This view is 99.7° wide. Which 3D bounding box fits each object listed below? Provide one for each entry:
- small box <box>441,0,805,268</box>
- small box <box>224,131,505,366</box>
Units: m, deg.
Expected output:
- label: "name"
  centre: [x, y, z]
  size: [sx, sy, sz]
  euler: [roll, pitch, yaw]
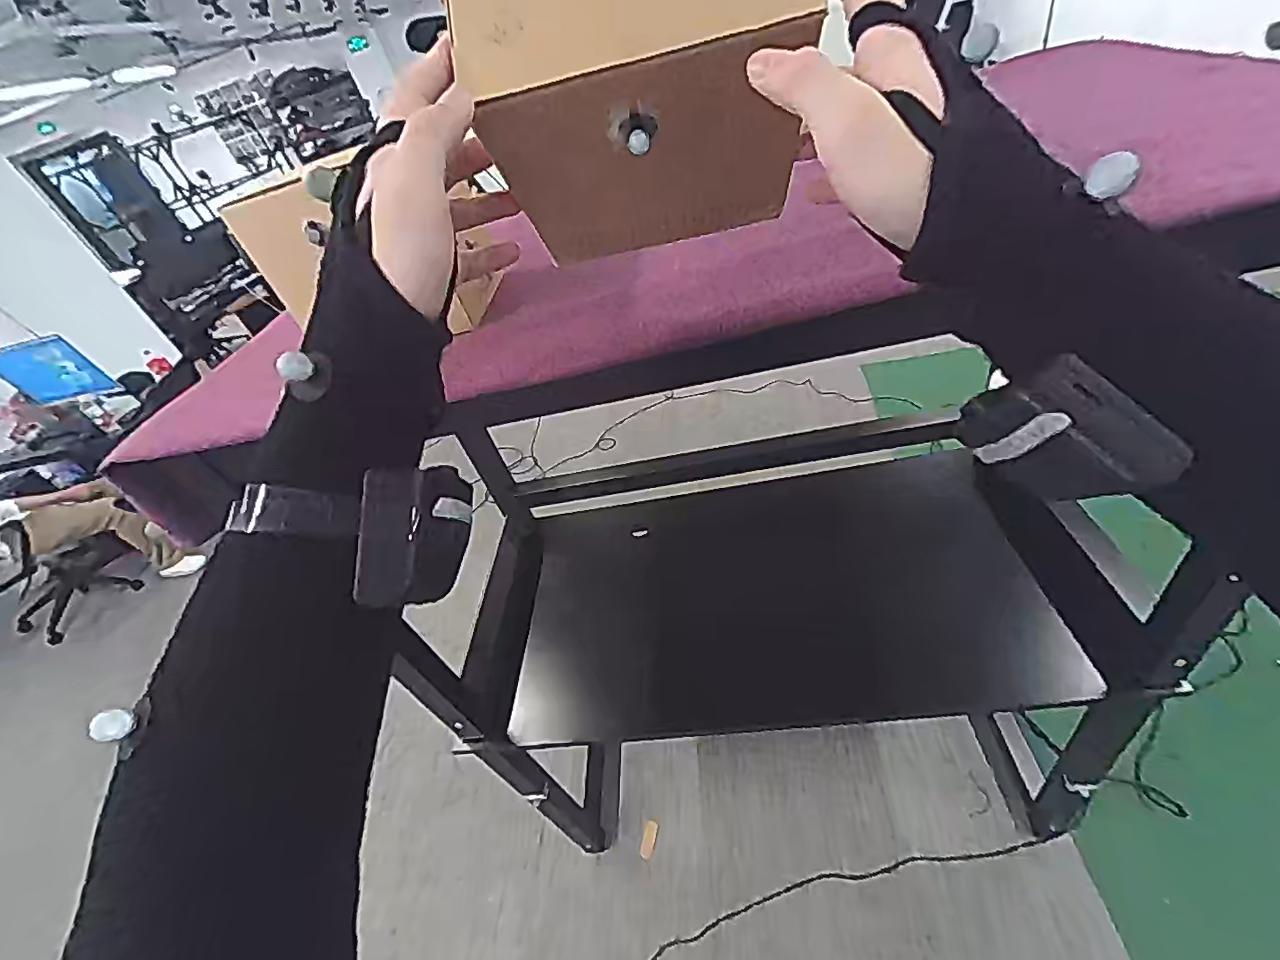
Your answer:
- label: "small box"
  centre: [-0.006, -0.259, 0.343]
  size: [0.179, 0.176, 0.168]
  euler: [-9, 83, 8]
- label: "small box"
  centre: [-0.272, -0.243, 0.583]
  size: [0.179, 0.176, 0.168]
  euler: [-11, 41, 10]
